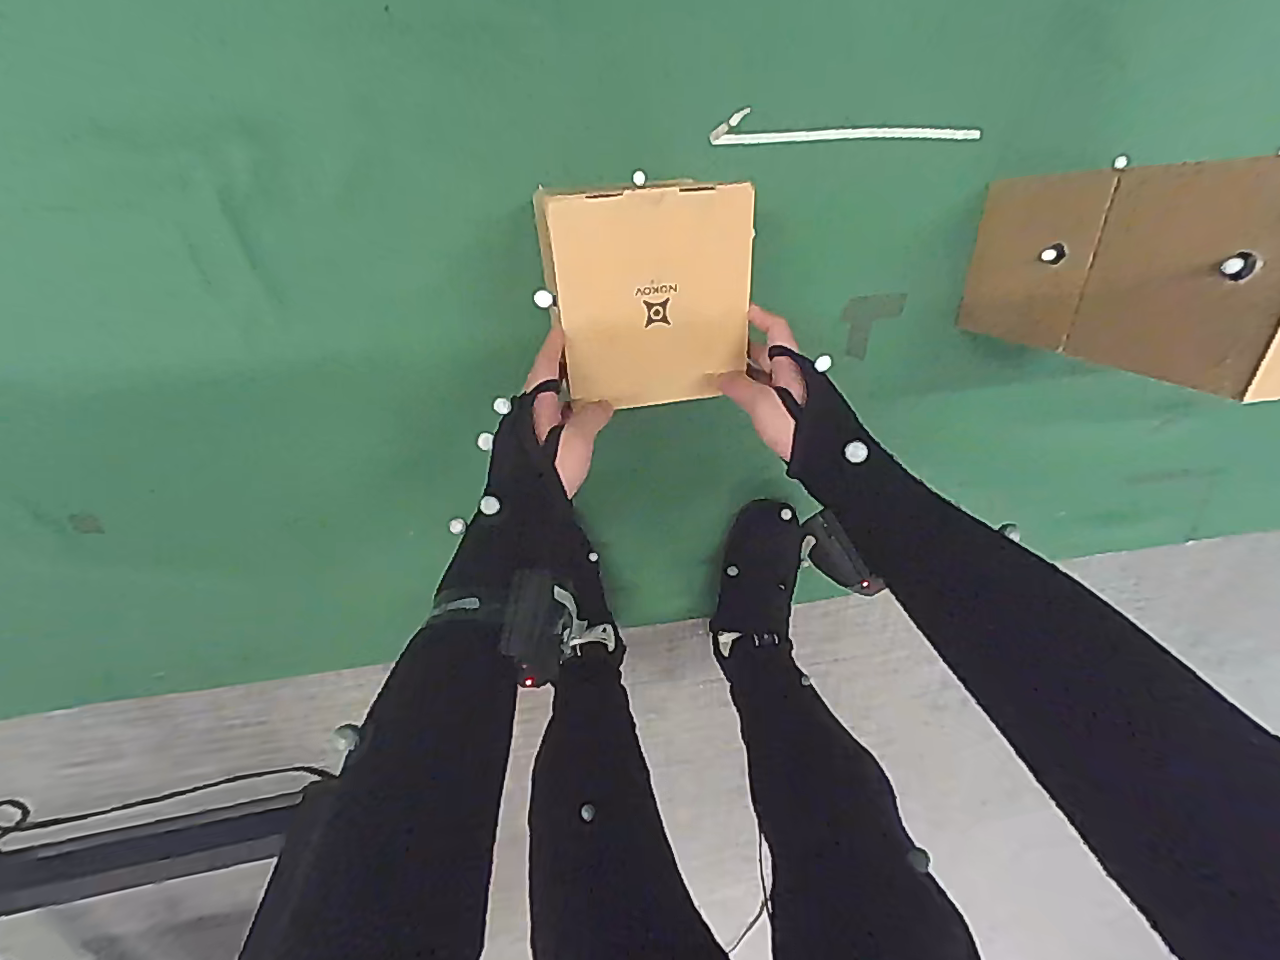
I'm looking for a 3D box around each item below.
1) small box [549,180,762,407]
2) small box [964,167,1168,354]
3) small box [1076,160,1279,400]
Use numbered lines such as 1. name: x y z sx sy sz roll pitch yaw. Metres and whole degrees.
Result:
1. small box: 0.005 -0.188 0.524 0.168 0.176 0.179 -8 118 -9
2. small box: 0.516 -0.252 0.624 0.168 0.176 0.179 -5 116 -9
3. small box: 0.546 -0.182 0.479 0.168 0.176 0.179 -5 117 -8
